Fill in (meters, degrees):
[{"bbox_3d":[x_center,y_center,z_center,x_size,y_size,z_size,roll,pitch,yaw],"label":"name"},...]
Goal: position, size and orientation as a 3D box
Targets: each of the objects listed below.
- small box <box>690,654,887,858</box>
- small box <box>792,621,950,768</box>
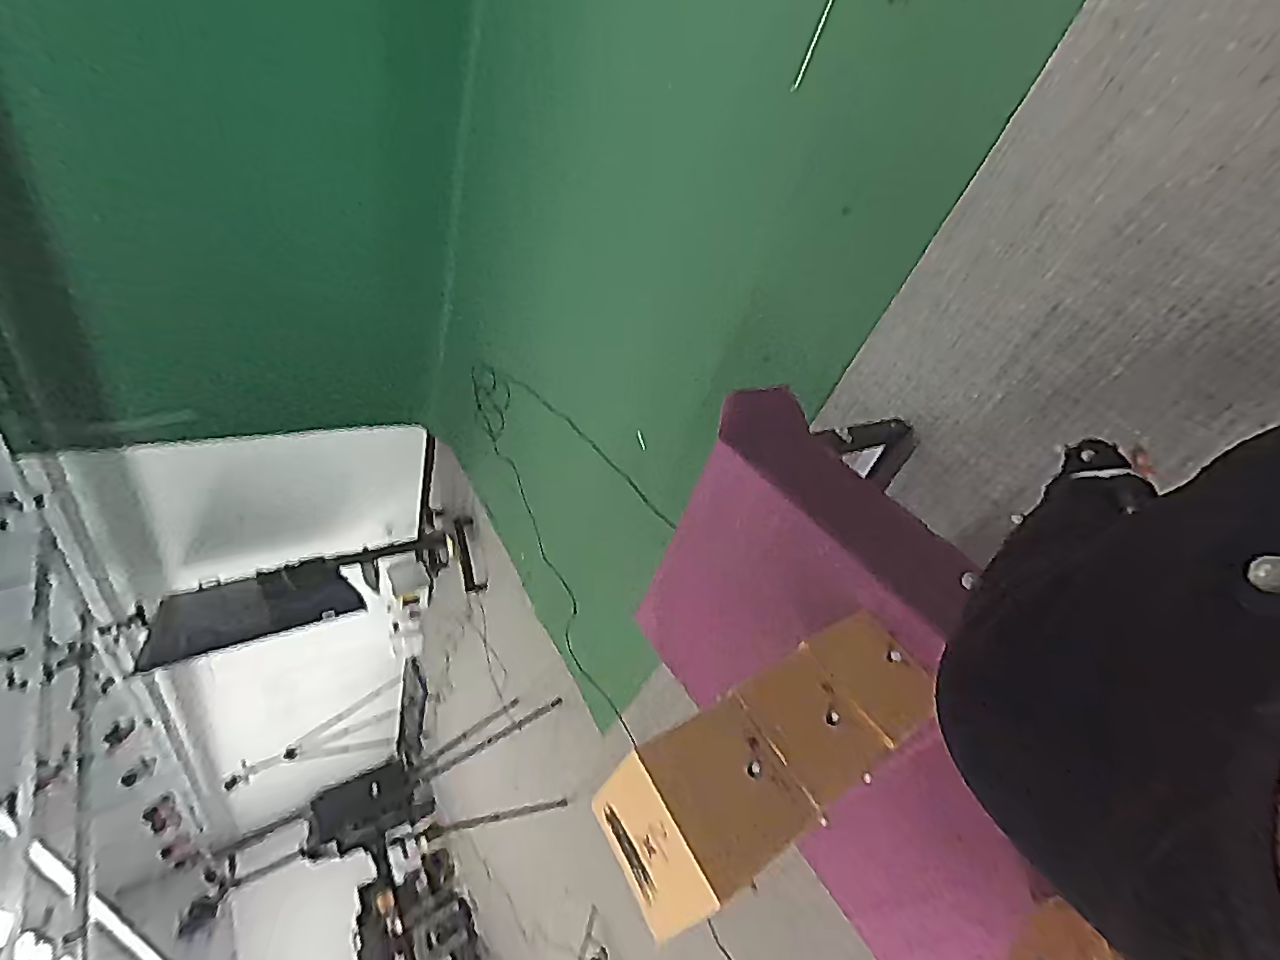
[{"bbox_3d":[0.207,0.379,0.761,0.168,0.176,0.179,50,134,32],"label":"small box"},{"bbox_3d":[0.337,0.344,0.854,0.179,0.176,0.168,50,135,33],"label":"small box"}]
